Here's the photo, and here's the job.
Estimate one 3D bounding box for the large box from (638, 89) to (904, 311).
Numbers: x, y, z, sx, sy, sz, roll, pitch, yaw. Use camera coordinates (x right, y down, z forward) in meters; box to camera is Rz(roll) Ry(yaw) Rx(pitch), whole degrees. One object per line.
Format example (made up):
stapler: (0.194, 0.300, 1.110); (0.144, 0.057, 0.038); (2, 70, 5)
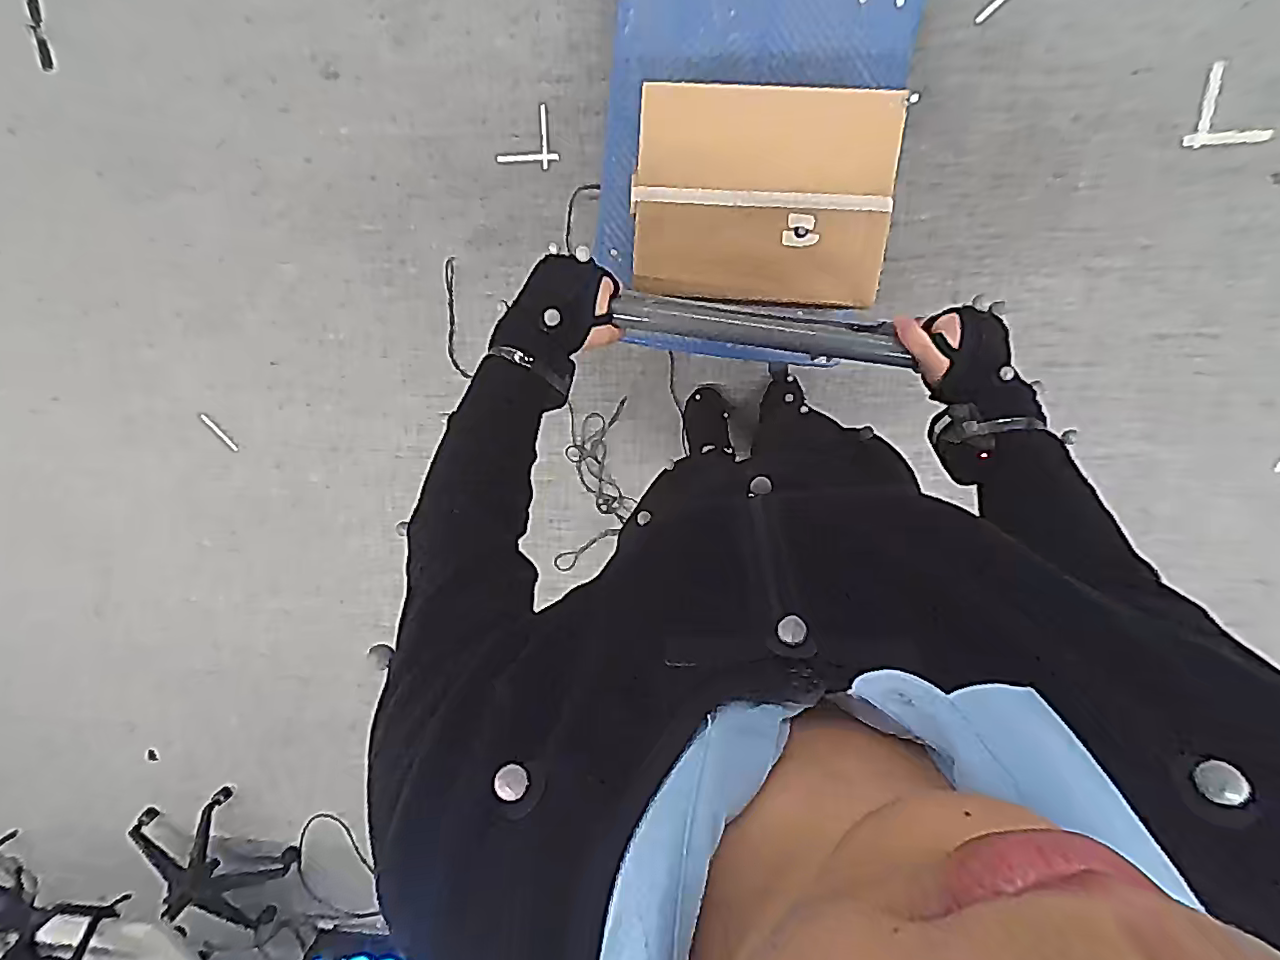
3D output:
large box: (0.207, -0.490, 1.016); (0.408, 0.320, 0.320); (4, 107, 3)
